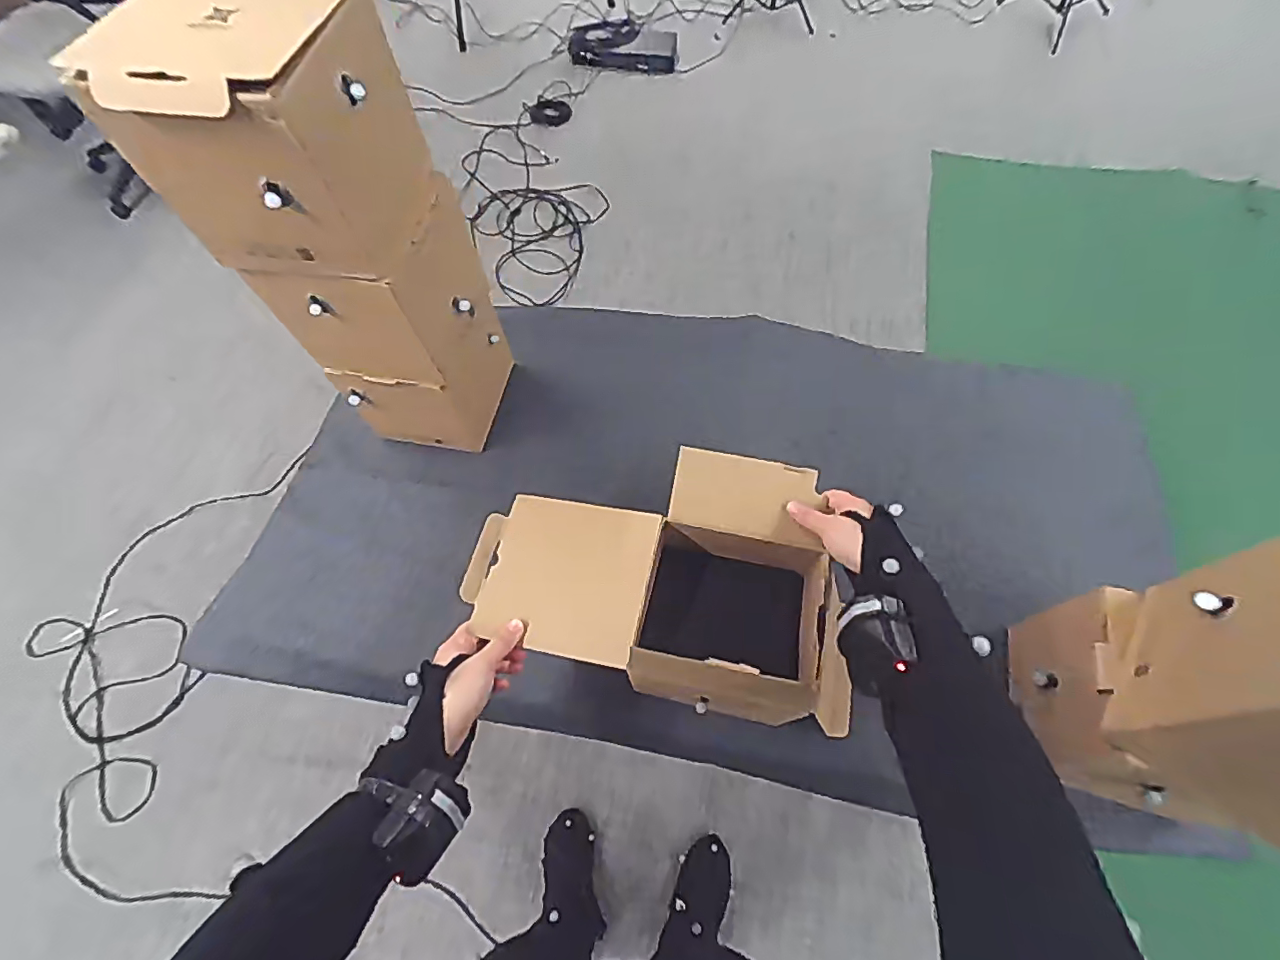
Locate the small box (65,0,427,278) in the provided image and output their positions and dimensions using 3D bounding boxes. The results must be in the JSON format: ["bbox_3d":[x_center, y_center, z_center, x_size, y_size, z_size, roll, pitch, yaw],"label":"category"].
[{"bbox_3d":[-0.316,-0.306,0.484,0.168,0.176,0.179,6,64,4],"label":"small box"}]

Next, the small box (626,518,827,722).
[{"bbox_3d":[0.093,0.163,0.603,0.179,0.176,0.168,11,64,9],"label":"small box"}]

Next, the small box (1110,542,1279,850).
[{"bbox_3d":[0.508,0.167,0.395,0.179,0.176,0.168,35,67,18],"label":"small box"}]

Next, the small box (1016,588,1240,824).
[{"bbox_3d":[0.512,0.232,0.546,0.179,0.176,0.168,14,62,10],"label":"small box"}]

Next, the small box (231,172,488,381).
[{"bbox_3d":[-0.303,-0.235,0.629,0.179,0.176,0.168,10,66,6],"label":"small box"}]
